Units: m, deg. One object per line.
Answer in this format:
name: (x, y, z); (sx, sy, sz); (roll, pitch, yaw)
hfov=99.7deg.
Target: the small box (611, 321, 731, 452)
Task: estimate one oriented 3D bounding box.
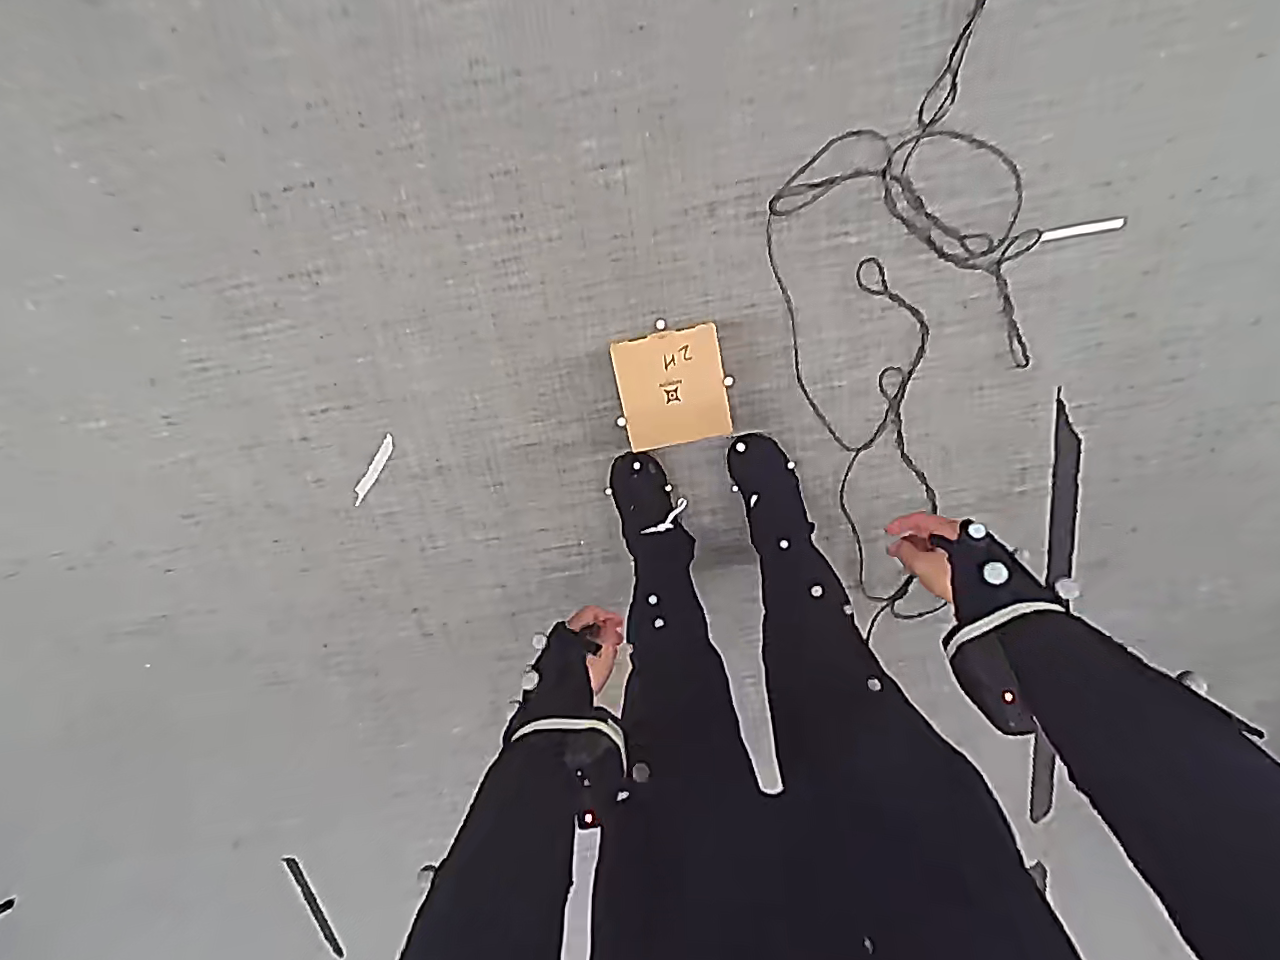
small box: (0.053, -0.164, 0.914); (0.168, 0.176, 0.179); (-11, 107, 5)
